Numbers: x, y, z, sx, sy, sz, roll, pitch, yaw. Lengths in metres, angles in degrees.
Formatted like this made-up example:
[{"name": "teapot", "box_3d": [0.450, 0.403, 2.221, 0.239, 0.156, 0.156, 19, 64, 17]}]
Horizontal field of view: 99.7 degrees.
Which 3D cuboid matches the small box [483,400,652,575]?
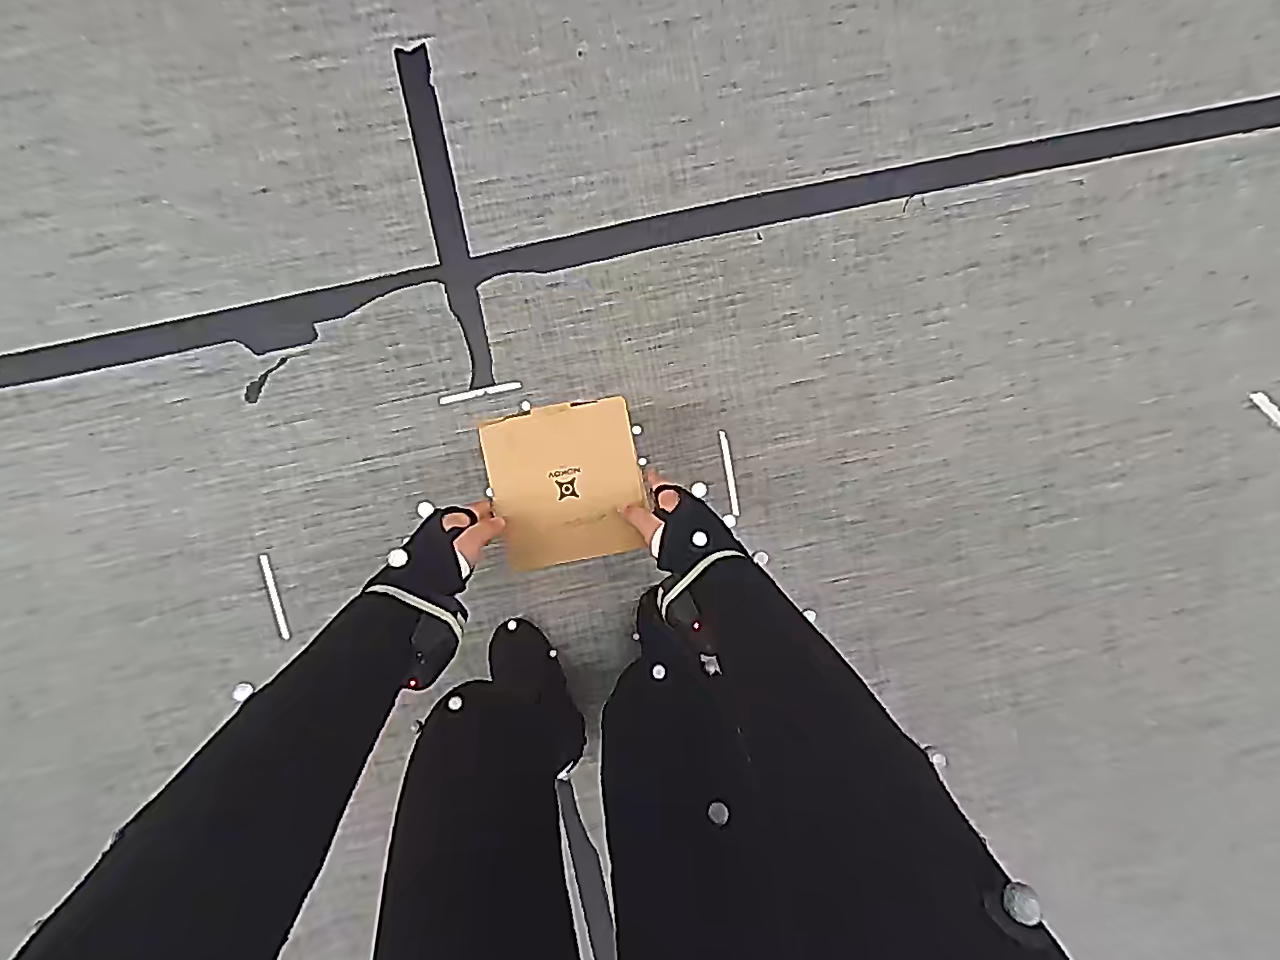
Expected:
[{"name": "small box", "box_3d": [-0.085, 0.000, 0.684, 0.168, 0.176, 0.179, -11, 99, -2]}]
